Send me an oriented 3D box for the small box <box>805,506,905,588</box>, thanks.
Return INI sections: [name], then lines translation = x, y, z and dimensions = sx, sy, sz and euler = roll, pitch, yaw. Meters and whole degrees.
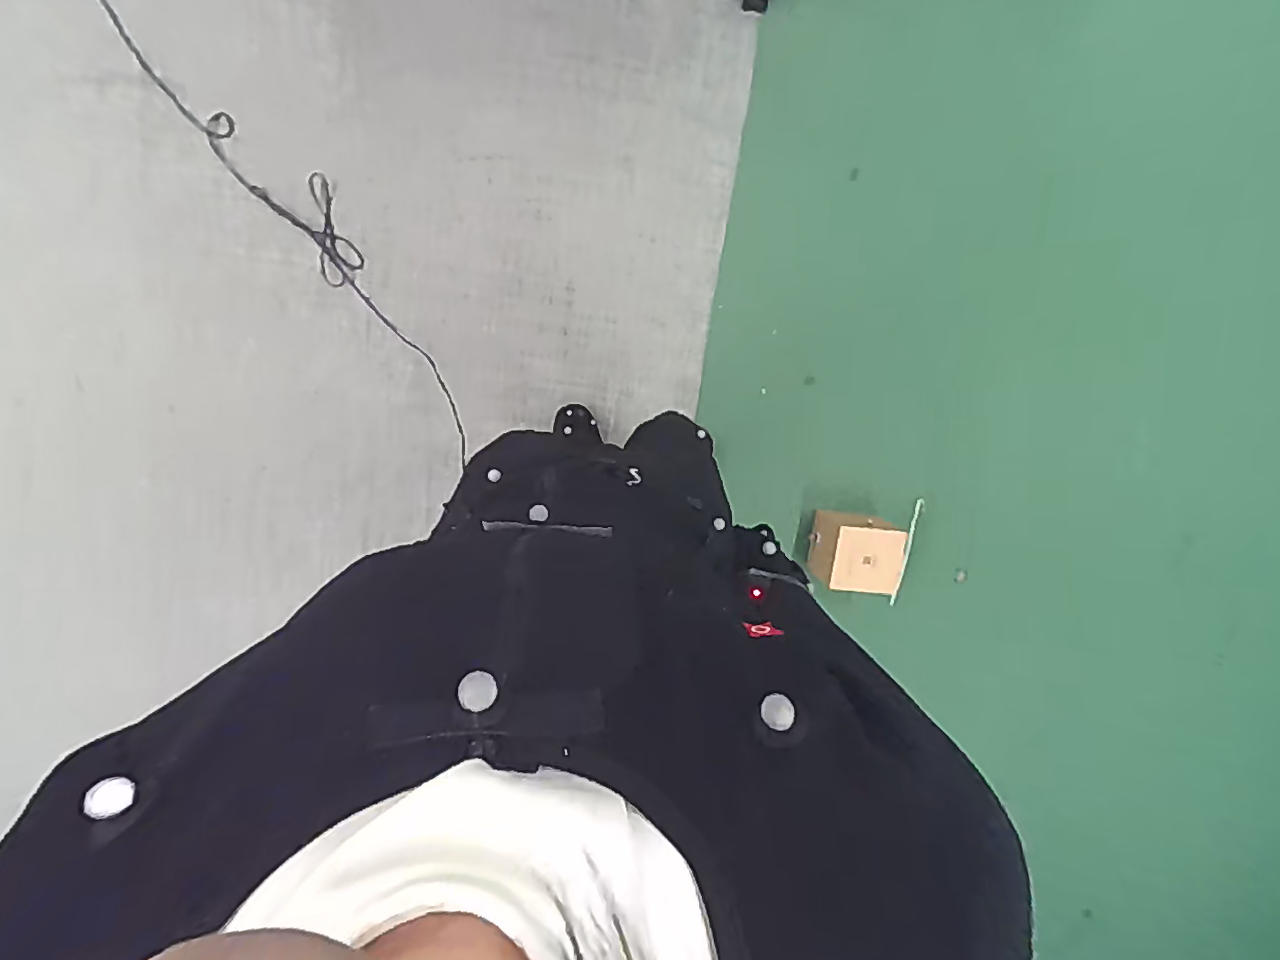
[small box]
translation = 0.560, 0.172, 1.427
dimensions = 0.179, 0.176, 0.168
euler = 6, 101, -3
